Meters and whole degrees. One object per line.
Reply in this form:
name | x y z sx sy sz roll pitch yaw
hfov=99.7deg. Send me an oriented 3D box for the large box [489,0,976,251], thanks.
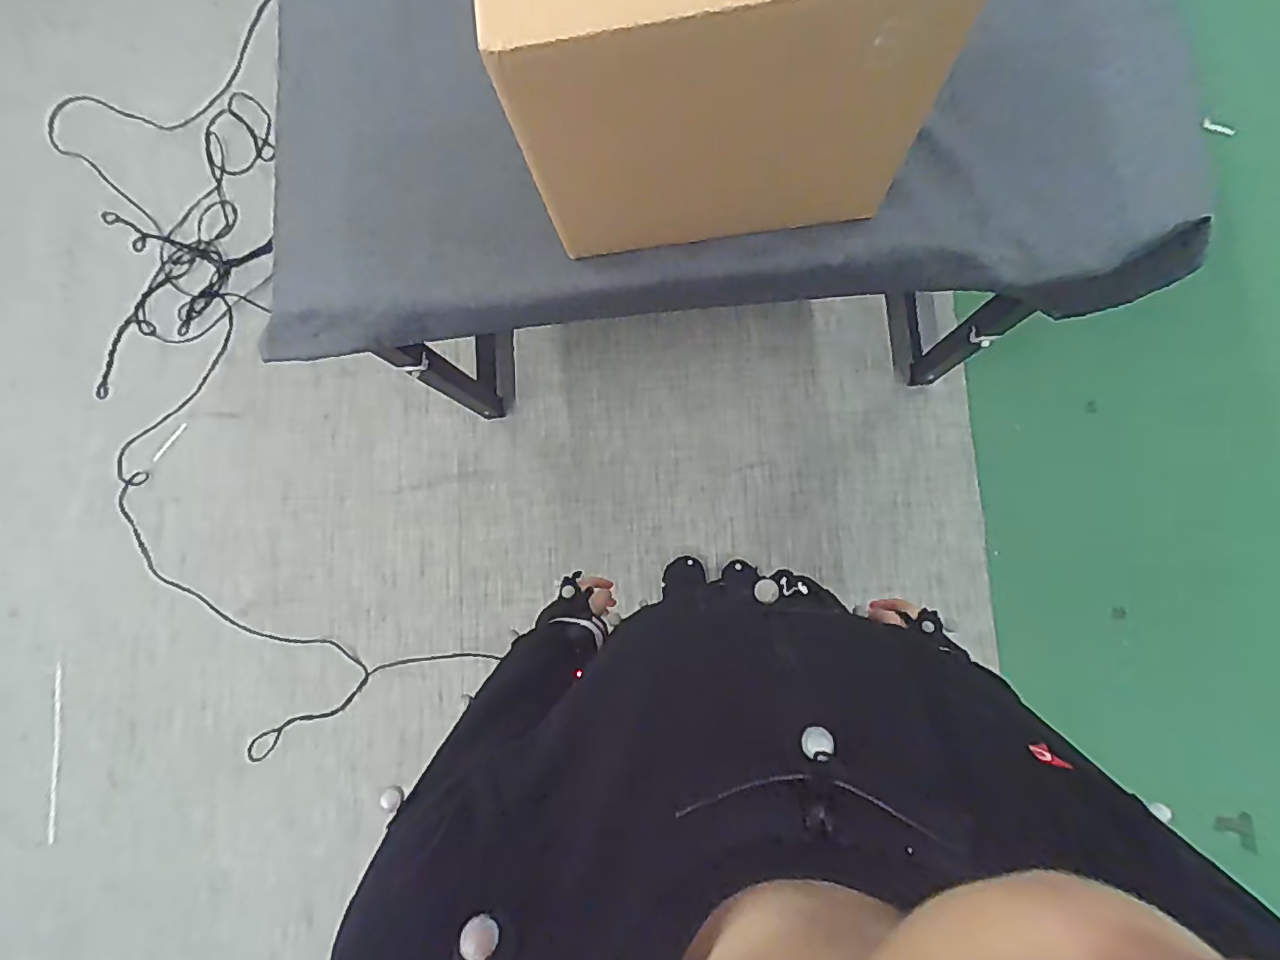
large box | 0.072 -0.495 0.586 0.408 0.320 0.320 -6 82 4
